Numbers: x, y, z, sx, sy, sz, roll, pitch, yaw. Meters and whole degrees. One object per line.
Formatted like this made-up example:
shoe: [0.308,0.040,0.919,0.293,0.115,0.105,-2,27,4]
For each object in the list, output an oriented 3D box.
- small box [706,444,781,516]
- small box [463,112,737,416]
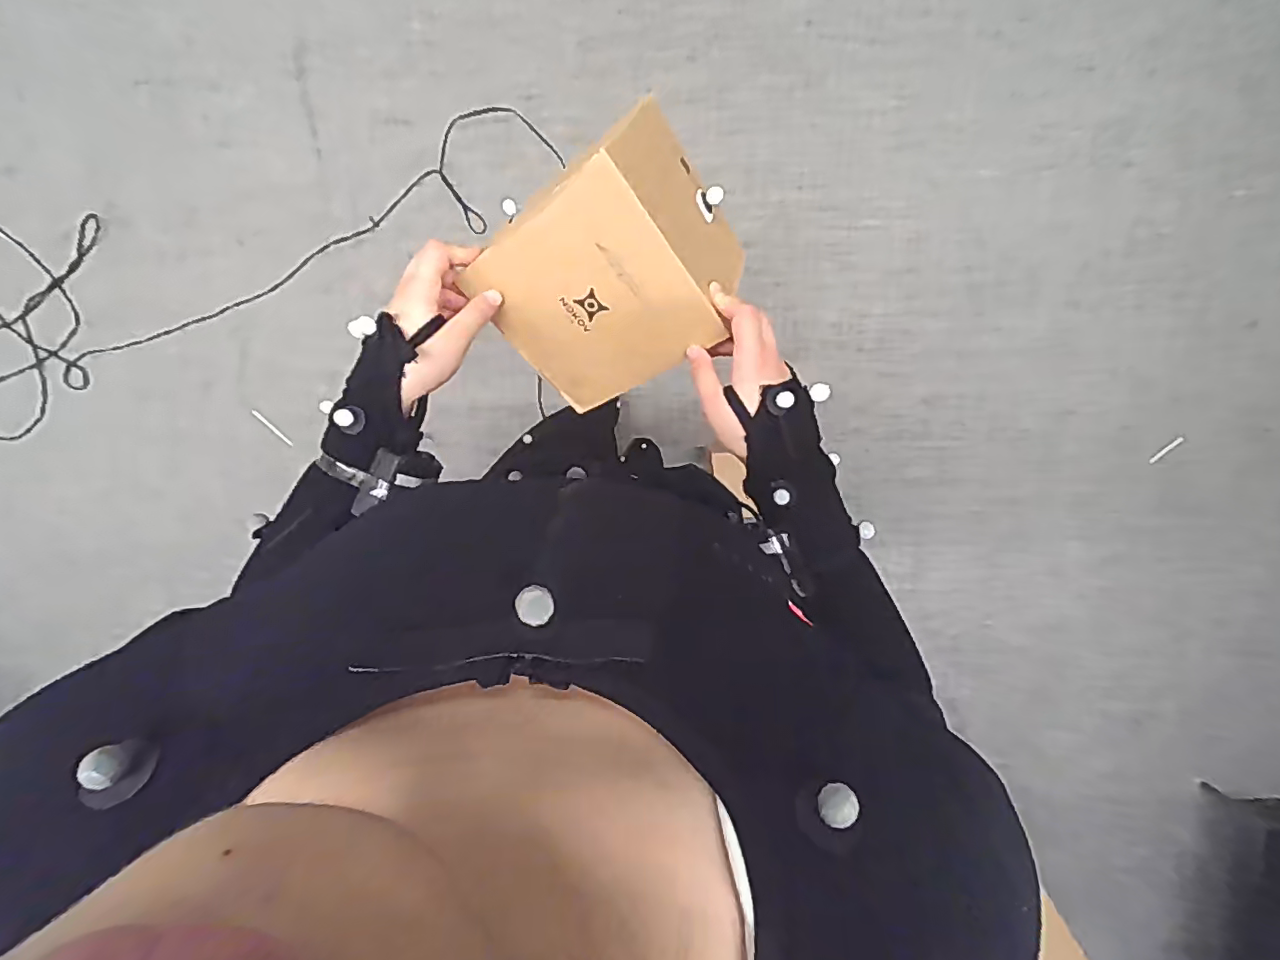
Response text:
small box: [0.263,-0.004,1.405,0.179,0.176,0.168,-3,99,2]
small box: [-0.024,-0.198,0.511,0.179,0.176,0.168,-23,126,34]
